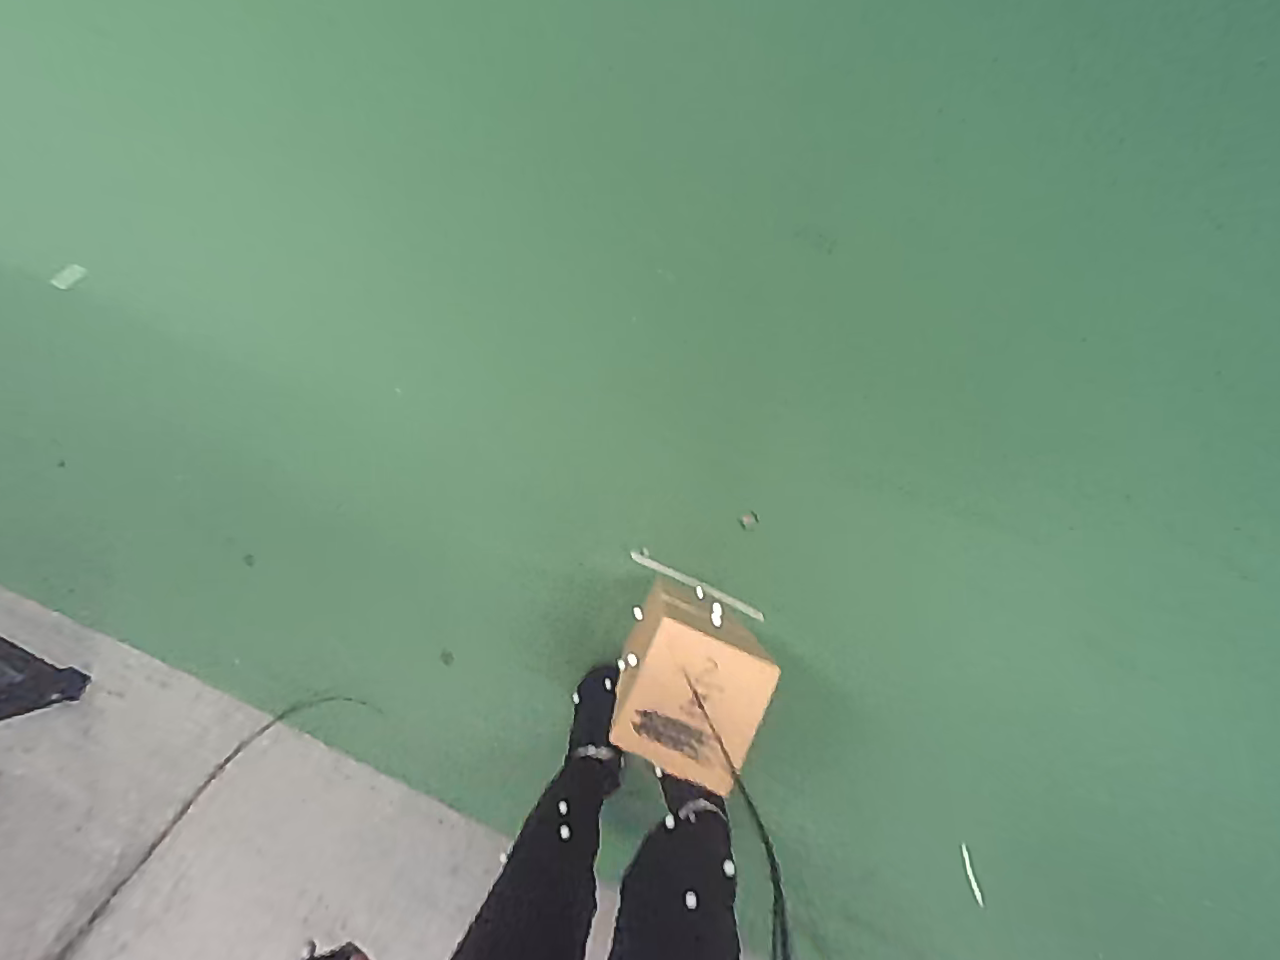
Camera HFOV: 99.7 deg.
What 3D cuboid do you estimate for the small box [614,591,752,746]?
[{"bbox_3d":[0.066,0.306,0.923,0.168,0.176,0.179,26,86,2],"label":"small box"}]

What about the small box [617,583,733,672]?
[{"bbox_3d":[0.064,0.321,1.084,0.168,0.176,0.179,27,86,3],"label":"small box"}]
